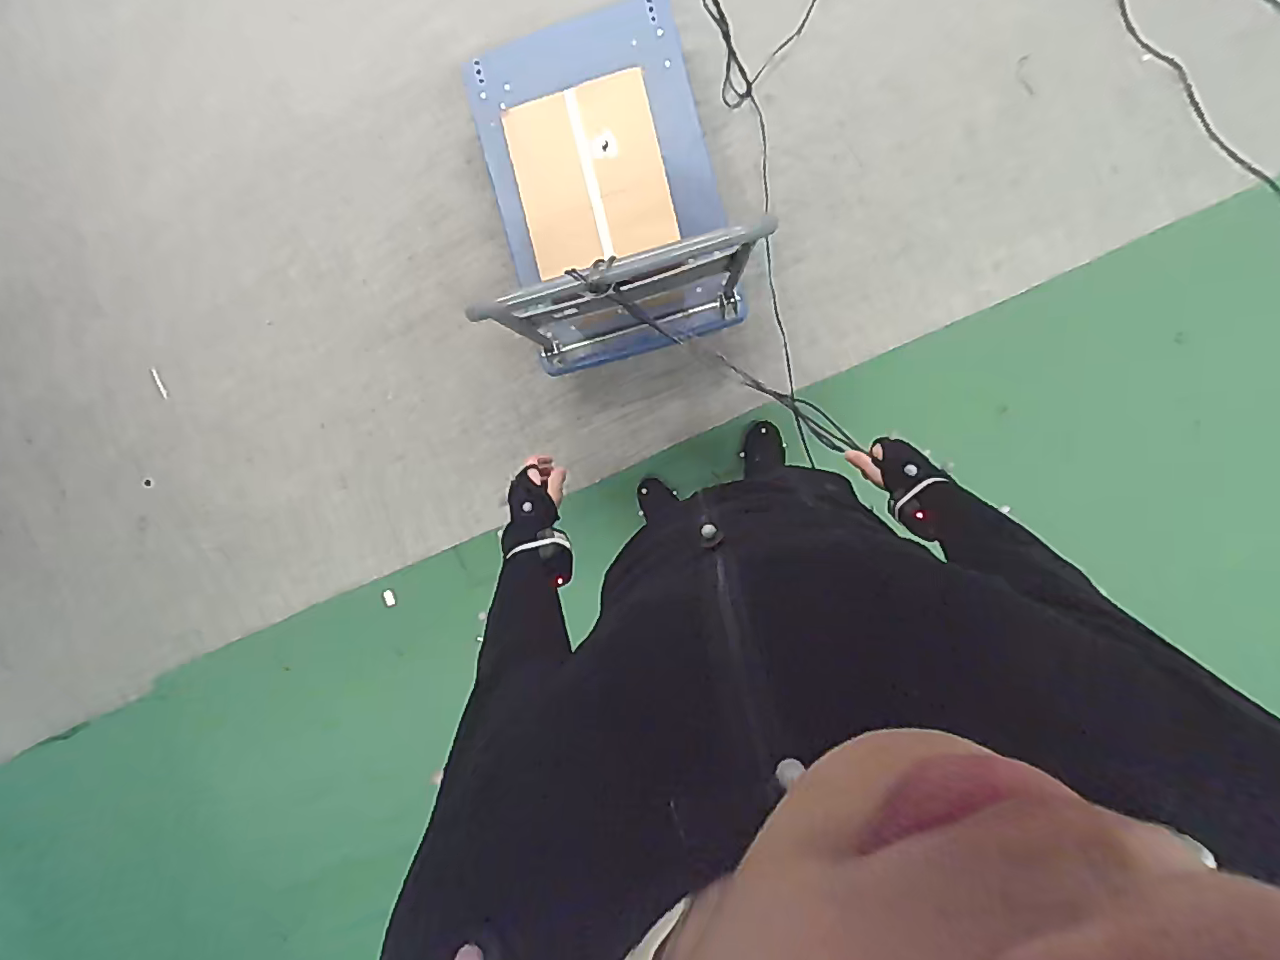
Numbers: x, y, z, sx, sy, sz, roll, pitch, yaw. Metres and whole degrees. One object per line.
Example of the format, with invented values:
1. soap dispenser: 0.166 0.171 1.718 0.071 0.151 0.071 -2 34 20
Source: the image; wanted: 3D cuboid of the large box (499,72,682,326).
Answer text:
1. large box: -0.095 -0.635 1.300 0.320 0.320 0.408 -14 91 5
